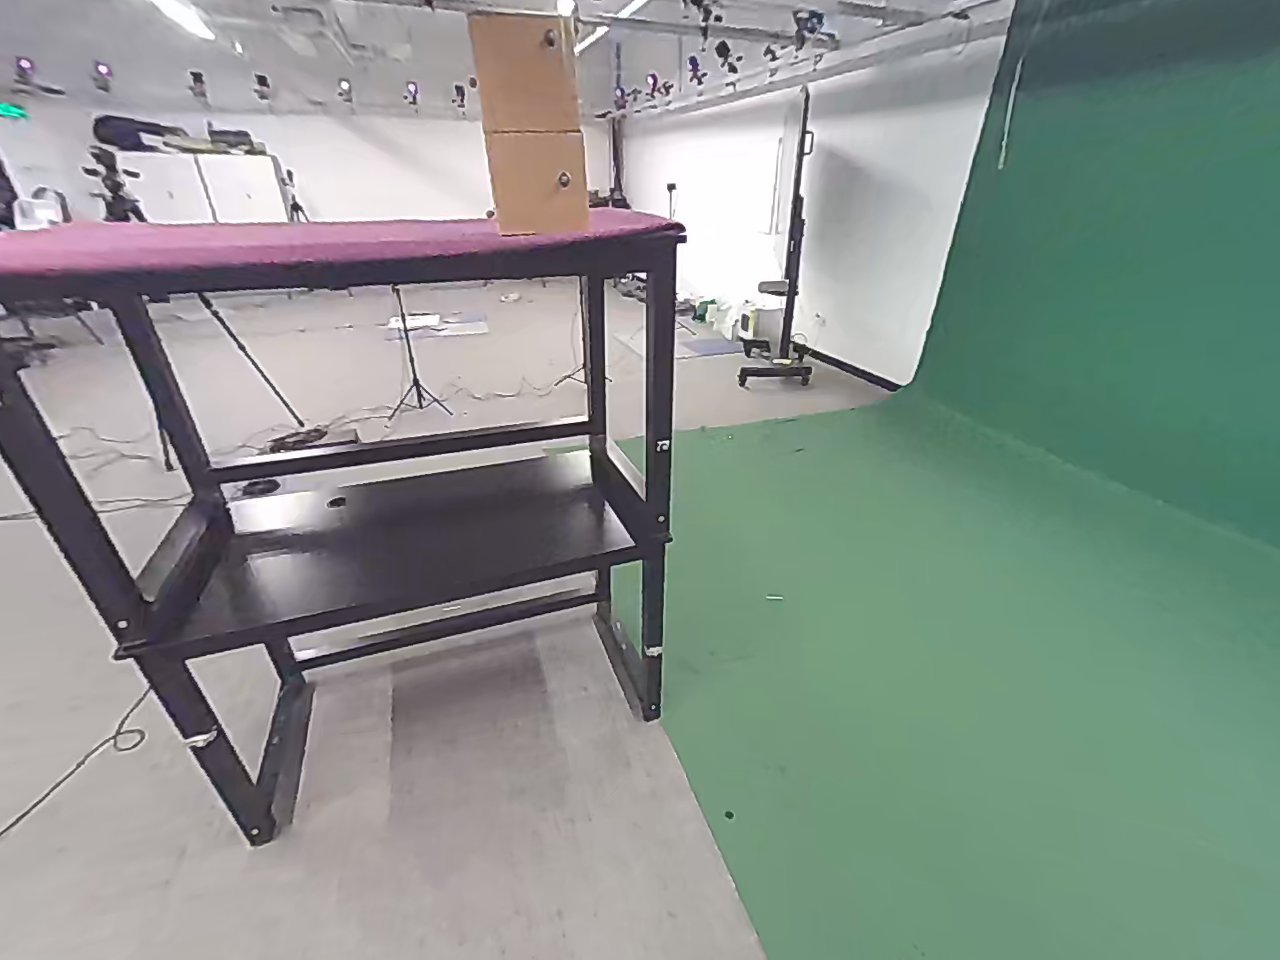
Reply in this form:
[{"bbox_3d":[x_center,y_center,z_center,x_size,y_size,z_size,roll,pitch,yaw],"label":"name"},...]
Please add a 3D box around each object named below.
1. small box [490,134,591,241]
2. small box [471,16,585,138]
[{"bbox_3d":[-0.194,-0.571,1.063,0.179,0.176,0.168,-9,27,-12],"label":"small box"},{"bbox_3d":[-0.202,-0.718,0.996,0.179,0.176,0.168,-6,26,-10],"label":"small box"}]
